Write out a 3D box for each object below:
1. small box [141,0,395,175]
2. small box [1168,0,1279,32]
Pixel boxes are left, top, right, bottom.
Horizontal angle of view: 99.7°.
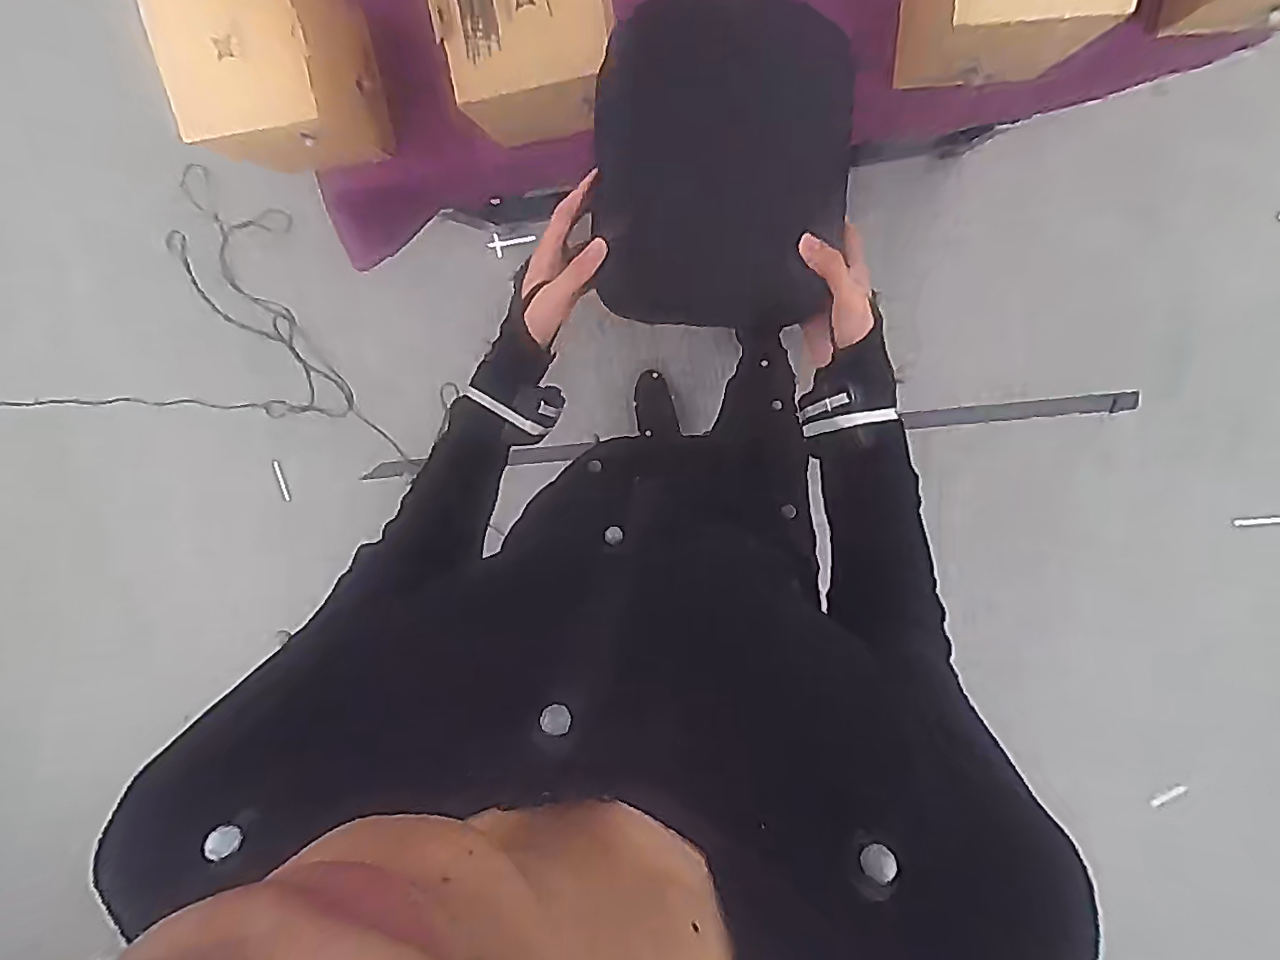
[{"bbox_3d":[-0.440,-0.494,0.666,0.179,0.176,0.168,-6,107,6],"label":"small box"},{"bbox_3d":[0.674,-0.578,0.518,0.168,0.176,0.179,1,108,7],"label":"small box"}]
